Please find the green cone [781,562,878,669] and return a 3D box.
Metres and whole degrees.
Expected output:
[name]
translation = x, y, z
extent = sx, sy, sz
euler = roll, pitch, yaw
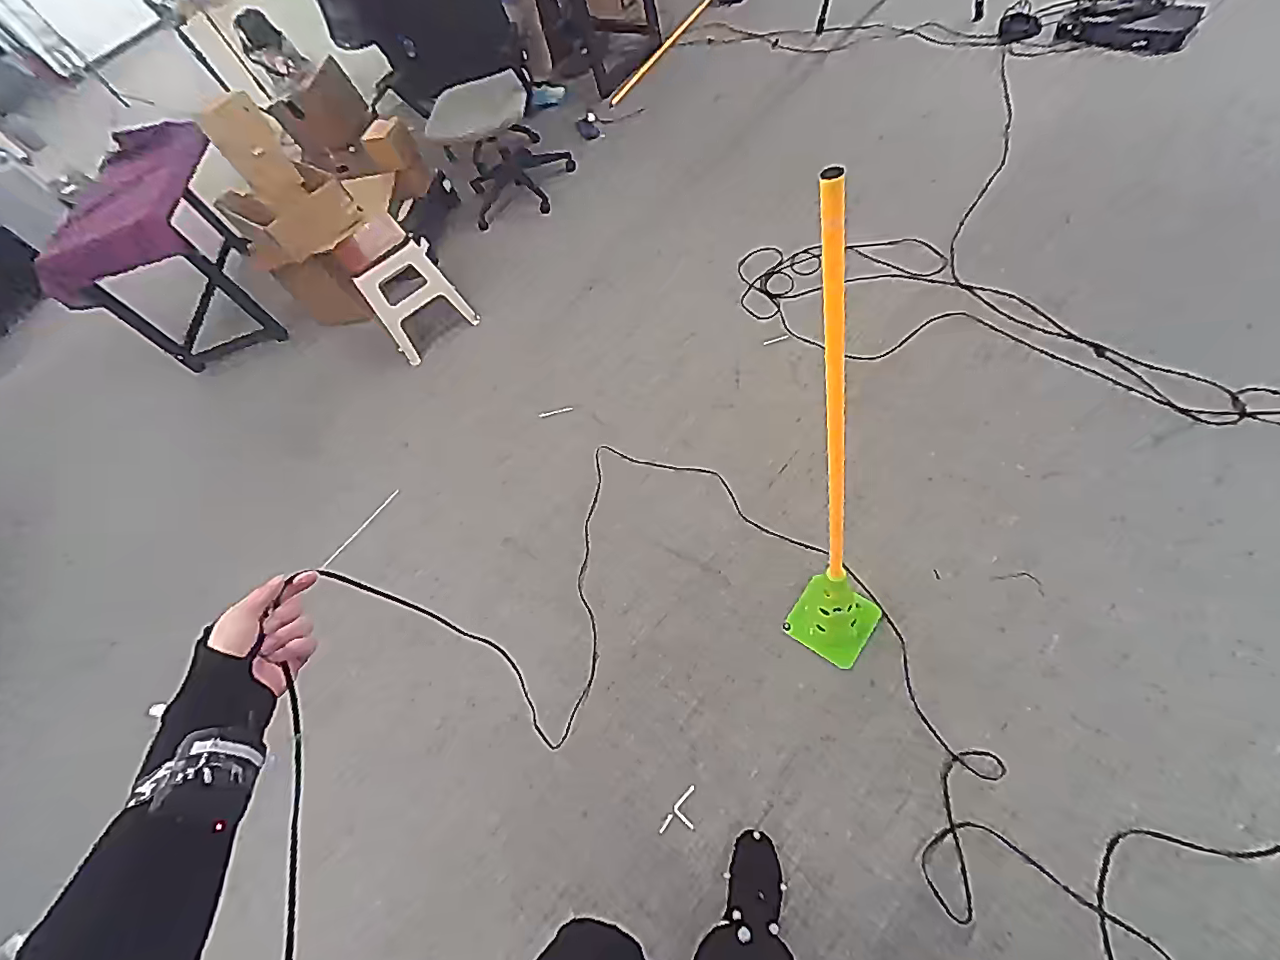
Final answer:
[green cone]
translation = 0.468, 0.293, 1.319
extent = 0.200, 0.368, 0.202
euler = 28, 70, 29
